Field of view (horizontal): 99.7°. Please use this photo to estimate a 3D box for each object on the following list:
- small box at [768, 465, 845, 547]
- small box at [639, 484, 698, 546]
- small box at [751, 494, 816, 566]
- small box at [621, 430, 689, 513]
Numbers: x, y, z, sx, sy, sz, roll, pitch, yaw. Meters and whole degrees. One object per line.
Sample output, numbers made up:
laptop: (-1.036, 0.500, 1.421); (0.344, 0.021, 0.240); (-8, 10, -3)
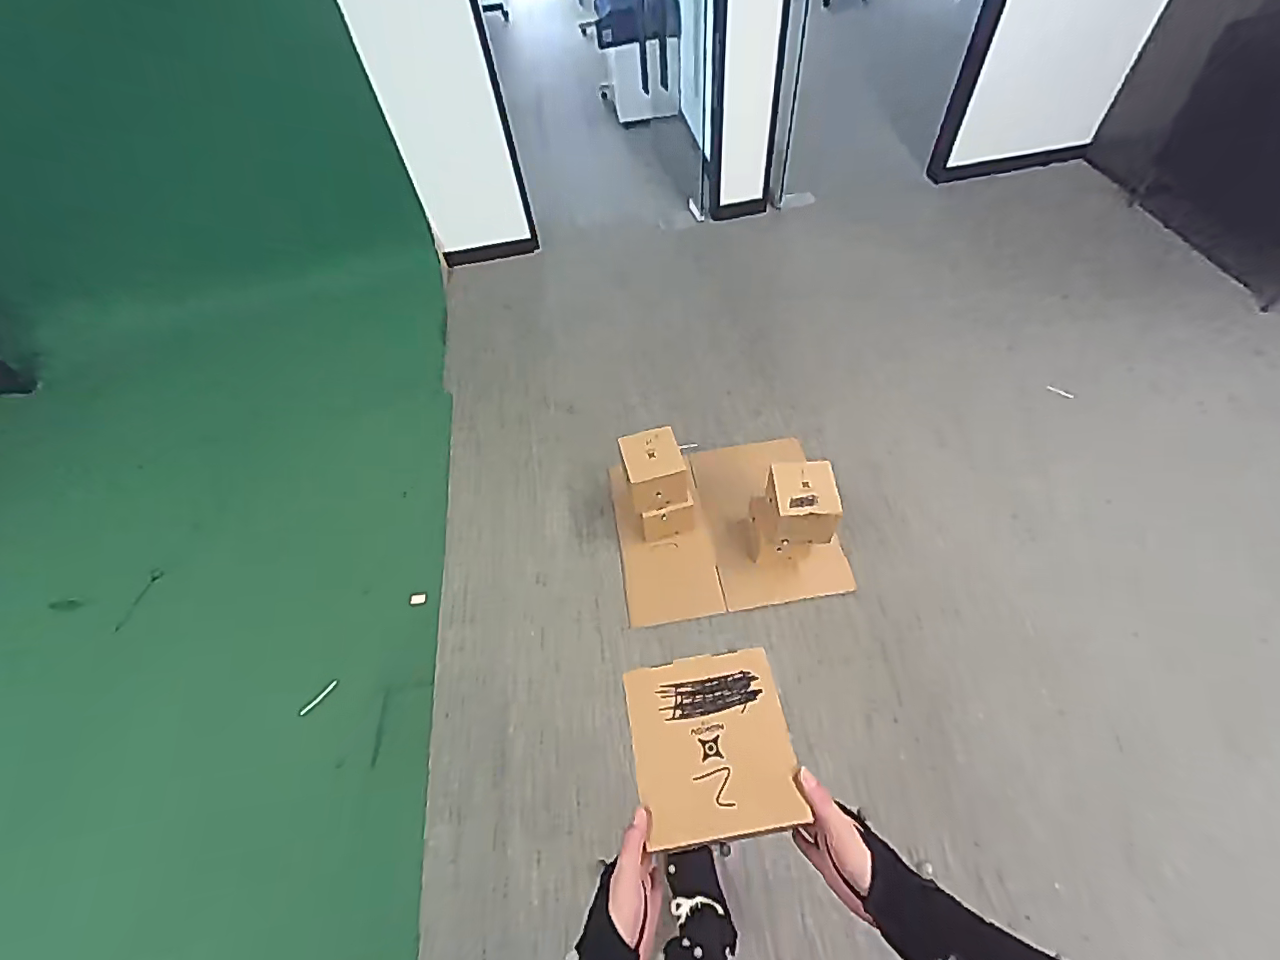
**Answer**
small box: (0.460, 0.079, 1.516); (0.168, 0.176, 0.179); (-2, 53, 4)
small box: (0.082, 0.086, 1.753); (0.168, 0.176, 0.179); (-15, 54, -5)
small box: (0.442, 0.155, 1.665); (0.168, 0.176, 0.179); (-6, 54, 2)
small box: (0.048, -0.017, 1.627); (0.168, 0.176, 0.179); (-13, 54, -5)
